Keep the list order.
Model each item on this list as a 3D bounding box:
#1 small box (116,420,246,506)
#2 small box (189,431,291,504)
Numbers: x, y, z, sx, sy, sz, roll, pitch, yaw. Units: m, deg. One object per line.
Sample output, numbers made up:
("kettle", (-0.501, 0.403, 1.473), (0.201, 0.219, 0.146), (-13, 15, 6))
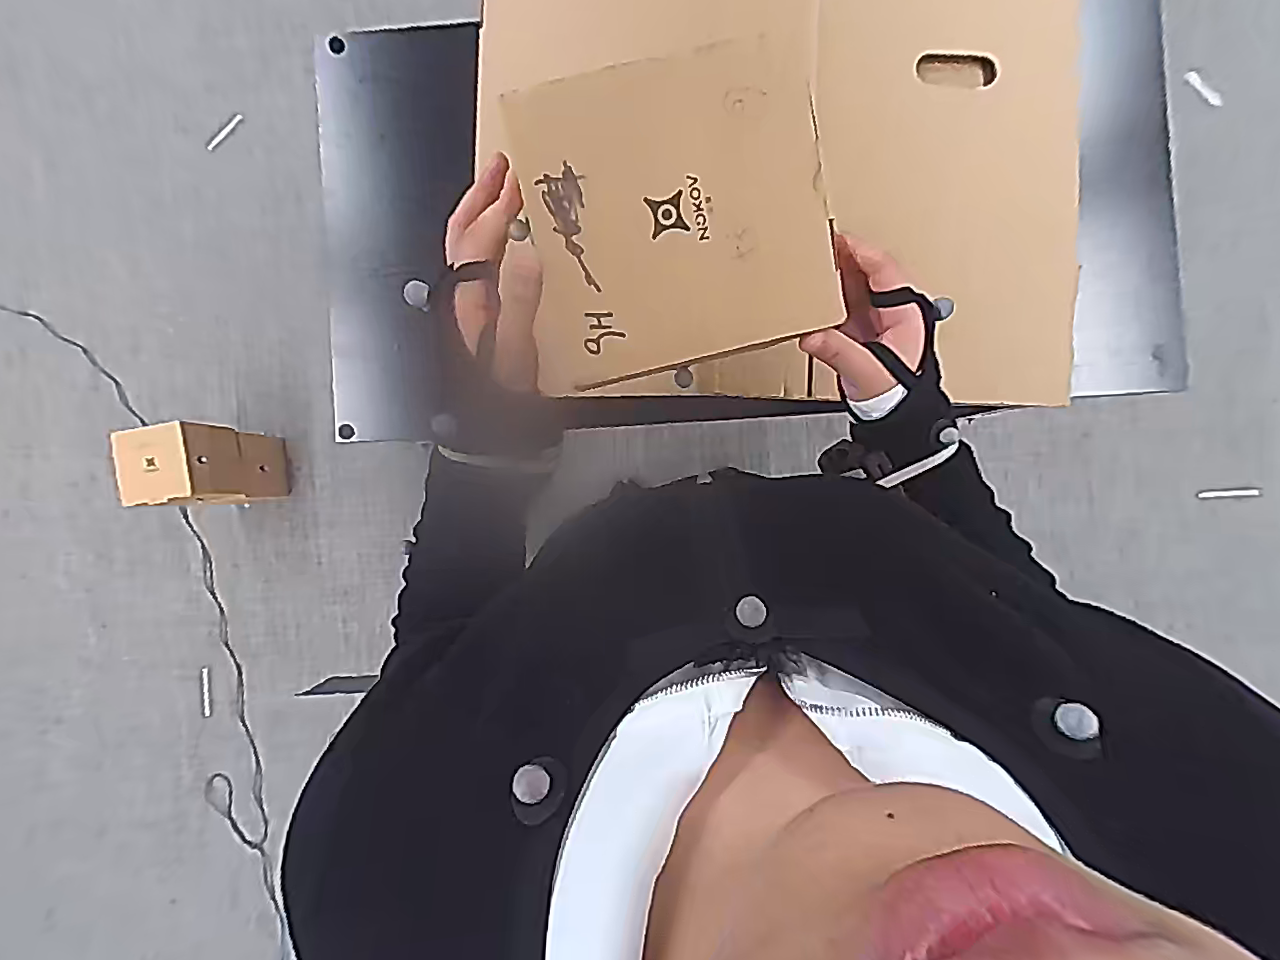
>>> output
("small box", (-1.096, -0.038, 1.306), (0.168, 0.176, 0.179), (-10, 89, 1))
("small box", (-1.089, -0.031, 1.469), (0.168, 0.176, 0.179), (-8, 90, 2))
